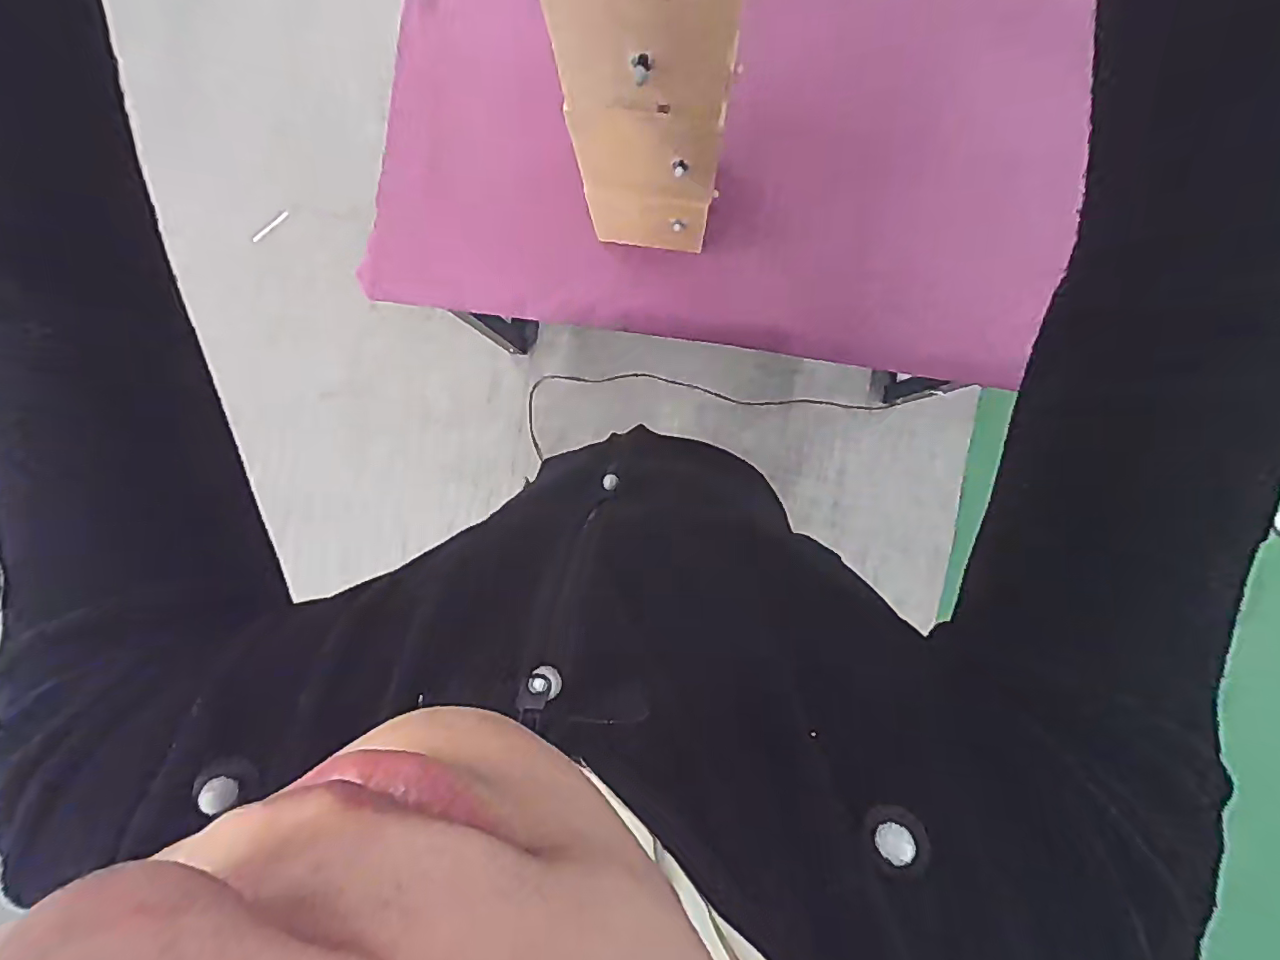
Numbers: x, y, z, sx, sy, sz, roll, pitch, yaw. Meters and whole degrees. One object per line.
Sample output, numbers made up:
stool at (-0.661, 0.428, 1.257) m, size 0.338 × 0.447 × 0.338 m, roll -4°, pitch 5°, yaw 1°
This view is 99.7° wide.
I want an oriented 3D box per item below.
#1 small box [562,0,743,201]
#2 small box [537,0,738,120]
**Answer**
small box at (0.017, -0.465, 0.656) m, size 0.179 × 0.176 × 0.168 m, roll 9°, pitch 91°, yaw 3°
small box at (0.010, -0.468, 0.493) m, size 0.168 × 0.176 × 0.179 m, roll 7°, pitch 91°, yaw 2°
